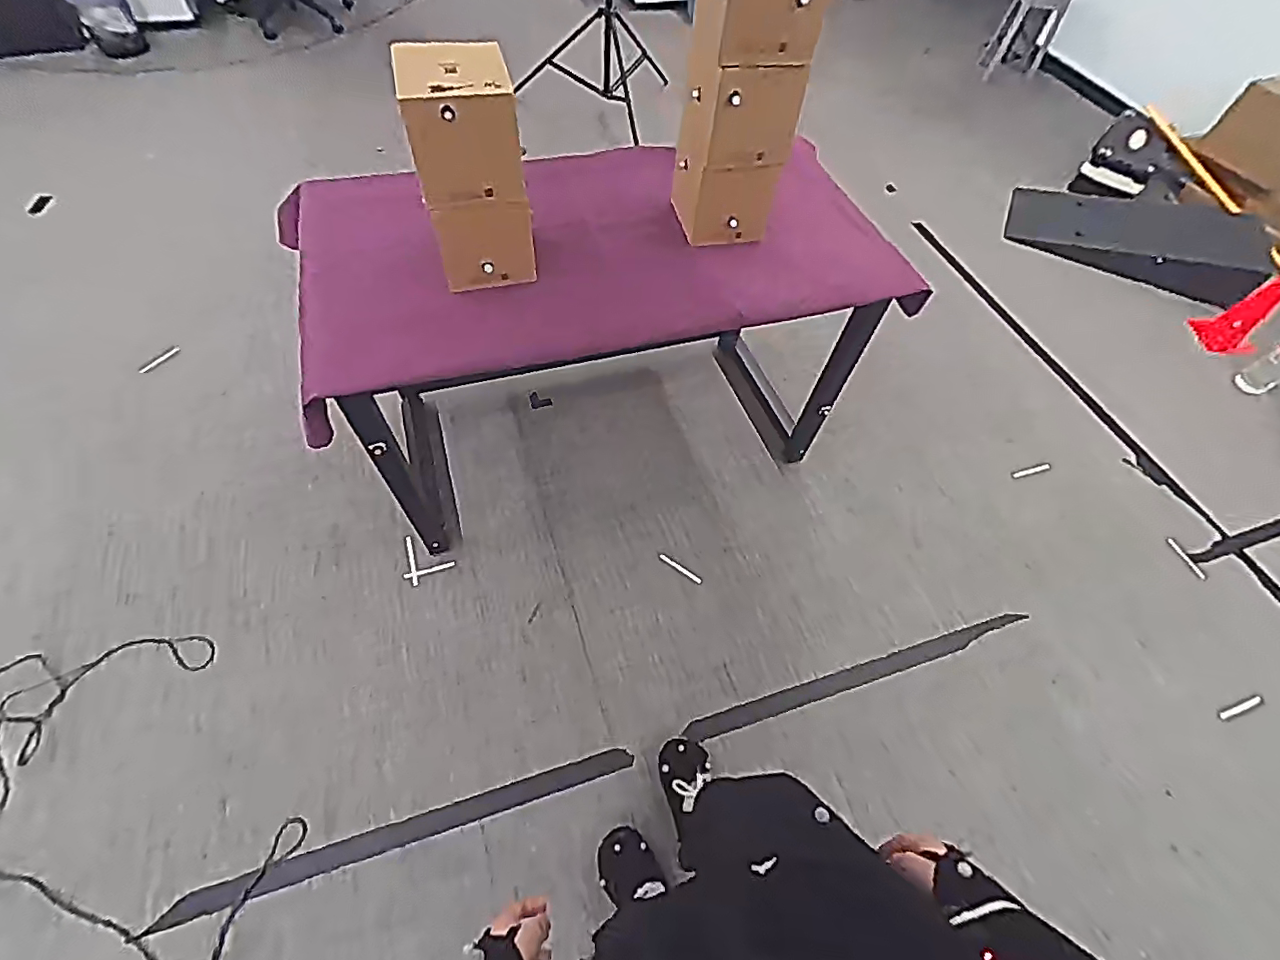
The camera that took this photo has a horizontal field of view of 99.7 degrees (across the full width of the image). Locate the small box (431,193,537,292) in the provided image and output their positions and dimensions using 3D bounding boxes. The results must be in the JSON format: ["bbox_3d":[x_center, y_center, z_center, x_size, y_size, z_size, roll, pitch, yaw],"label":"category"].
[{"bbox_3d":[-0.294,-0.485,1.018,0.168,0.176,0.179,-12,61,-12],"label":"small box"}]

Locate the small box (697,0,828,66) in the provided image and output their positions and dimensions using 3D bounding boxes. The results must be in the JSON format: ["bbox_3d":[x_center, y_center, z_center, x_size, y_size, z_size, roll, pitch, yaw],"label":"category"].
[{"bbox_3d":[0.197,-0.789,0.859,0.168,0.176,0.179,-7,58,-10],"label":"small box"}]

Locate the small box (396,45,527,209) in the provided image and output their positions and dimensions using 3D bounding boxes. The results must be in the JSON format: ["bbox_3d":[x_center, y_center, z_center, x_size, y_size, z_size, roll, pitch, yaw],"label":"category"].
[{"bbox_3d":[-0.285,-0.571,0.878,0.168,0.176,0.179,-12,59,-11],"label":"small box"}]

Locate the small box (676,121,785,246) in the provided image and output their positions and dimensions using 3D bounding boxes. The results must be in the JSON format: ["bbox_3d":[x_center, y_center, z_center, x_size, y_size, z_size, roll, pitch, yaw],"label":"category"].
[{"bbox_3d":[0.178,-0.623,1.140,0.168,0.176,0.179,-9,59,-9],"label":"small box"}]
